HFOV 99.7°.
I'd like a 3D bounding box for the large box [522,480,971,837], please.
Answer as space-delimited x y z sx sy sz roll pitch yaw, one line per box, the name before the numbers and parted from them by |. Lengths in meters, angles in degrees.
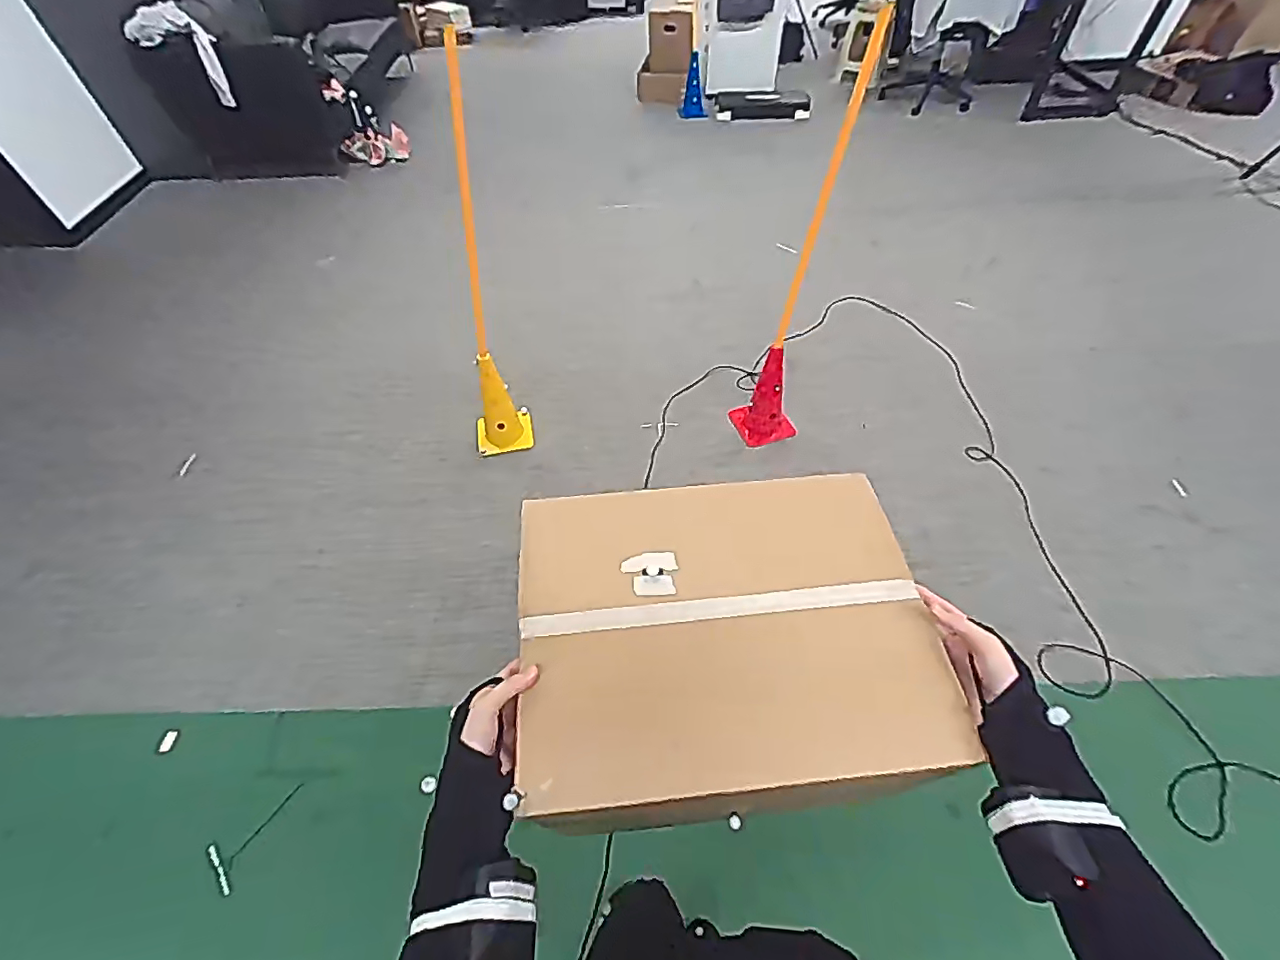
large box | 0.085 0.230 0.671 0.408 0.320 0.320 -6 53 -3
